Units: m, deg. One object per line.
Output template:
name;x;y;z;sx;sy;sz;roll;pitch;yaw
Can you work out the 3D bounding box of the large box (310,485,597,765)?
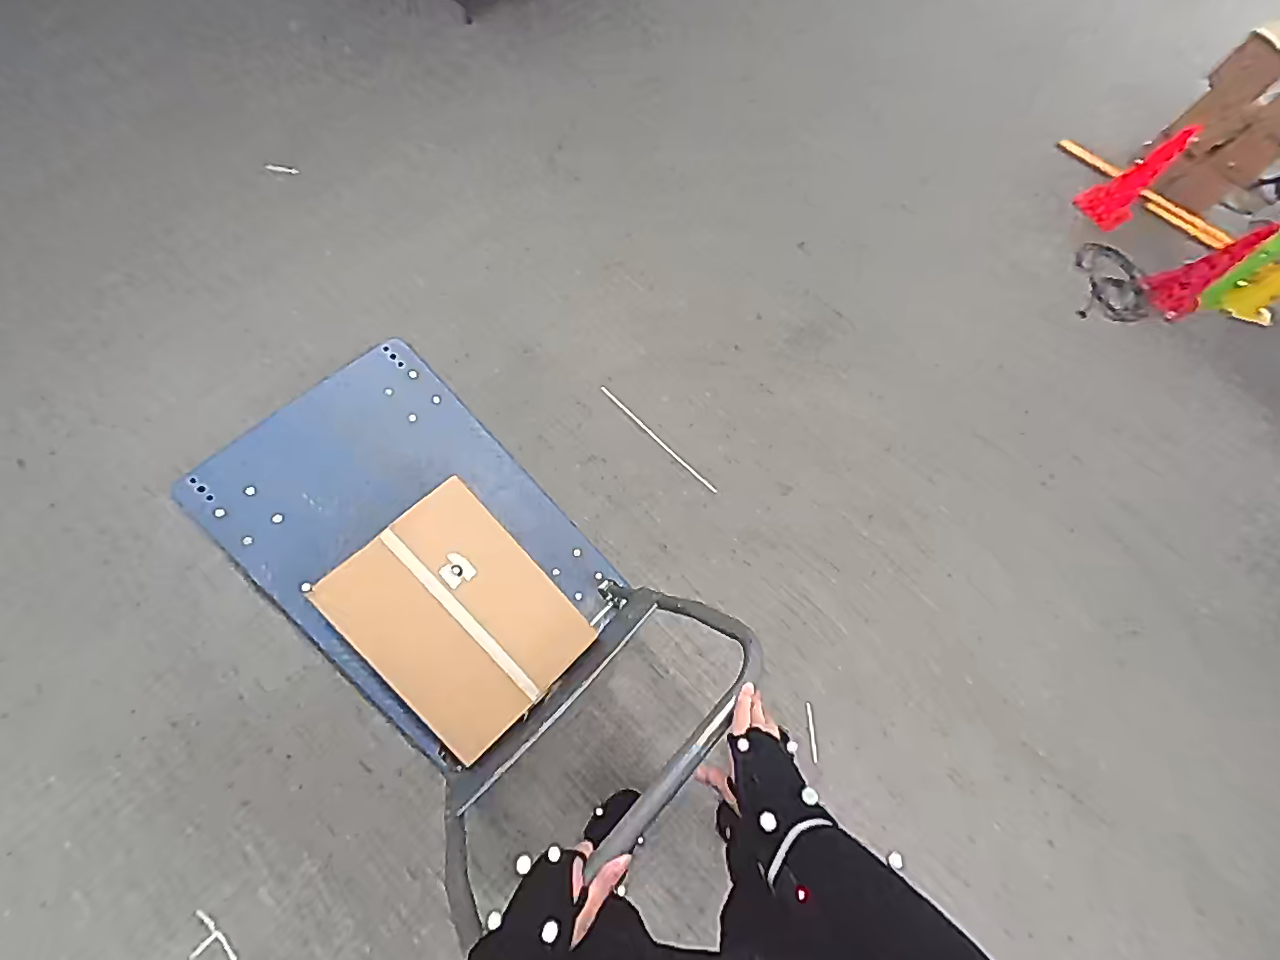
large box;-0.353;0.275;1.099;0.320;0.320;0.408;-43;93;-19
